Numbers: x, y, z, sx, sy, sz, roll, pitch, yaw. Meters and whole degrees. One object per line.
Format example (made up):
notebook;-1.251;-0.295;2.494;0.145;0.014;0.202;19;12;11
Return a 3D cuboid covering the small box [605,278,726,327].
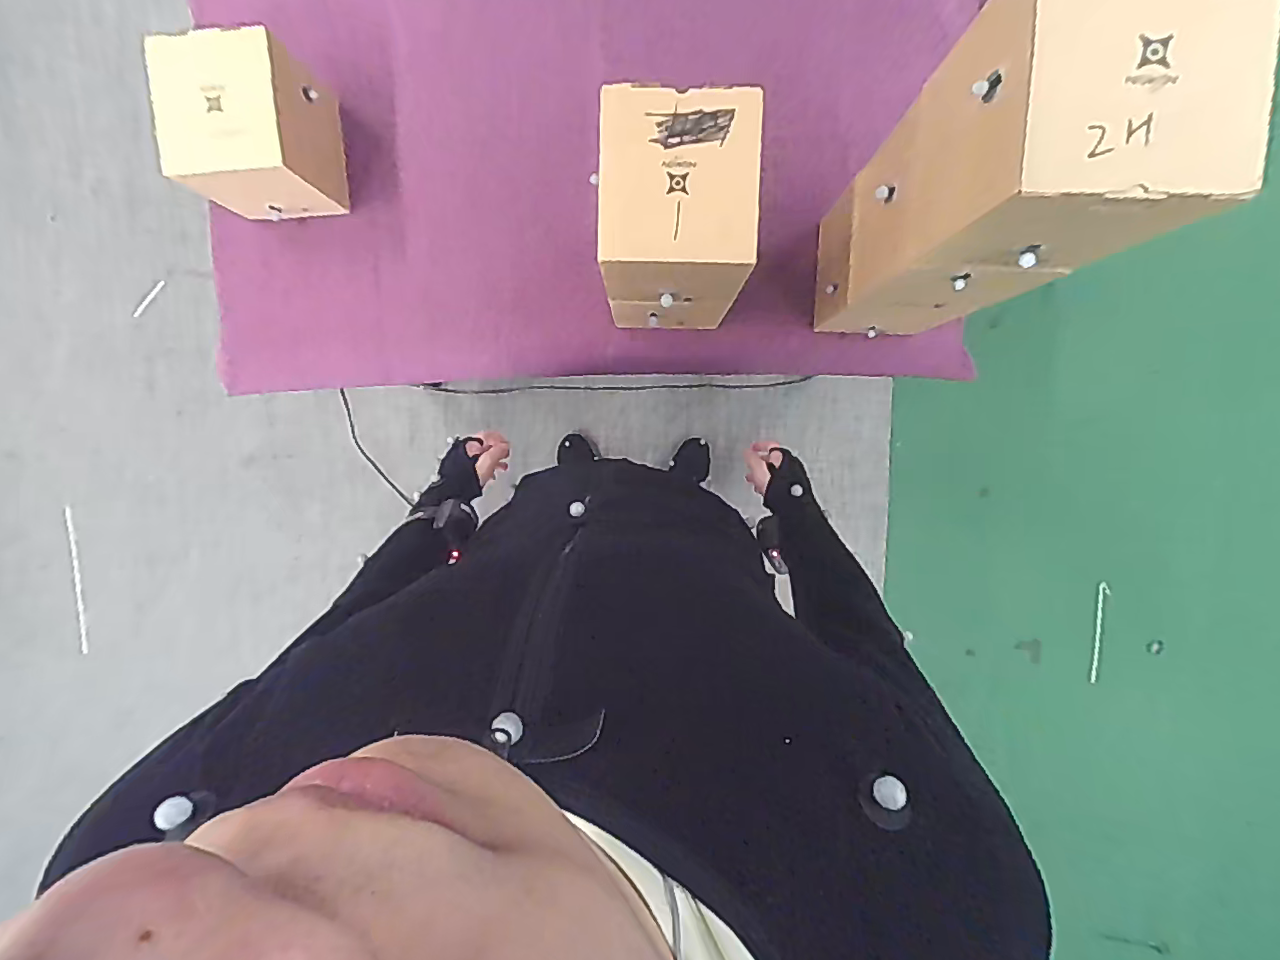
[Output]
small box;0.040;-0.327;0.791;0.168;0.176;0.179;1;94;1

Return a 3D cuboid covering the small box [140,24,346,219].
small box;-0.557;-0.504;0.782;0.168;0.176;0.179;-3;96;2

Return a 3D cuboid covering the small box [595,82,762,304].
small box;0.039;-0.316;0.627;0.168;0.176;0.179;2;95;1

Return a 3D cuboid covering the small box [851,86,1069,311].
small box;0.356;-0.306;0.619;0.168;0.176;0.179;3;94;2

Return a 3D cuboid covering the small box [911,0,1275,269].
small box;0.350;-0.295;0.455;0.168;0.176;0.179;2;95;2
